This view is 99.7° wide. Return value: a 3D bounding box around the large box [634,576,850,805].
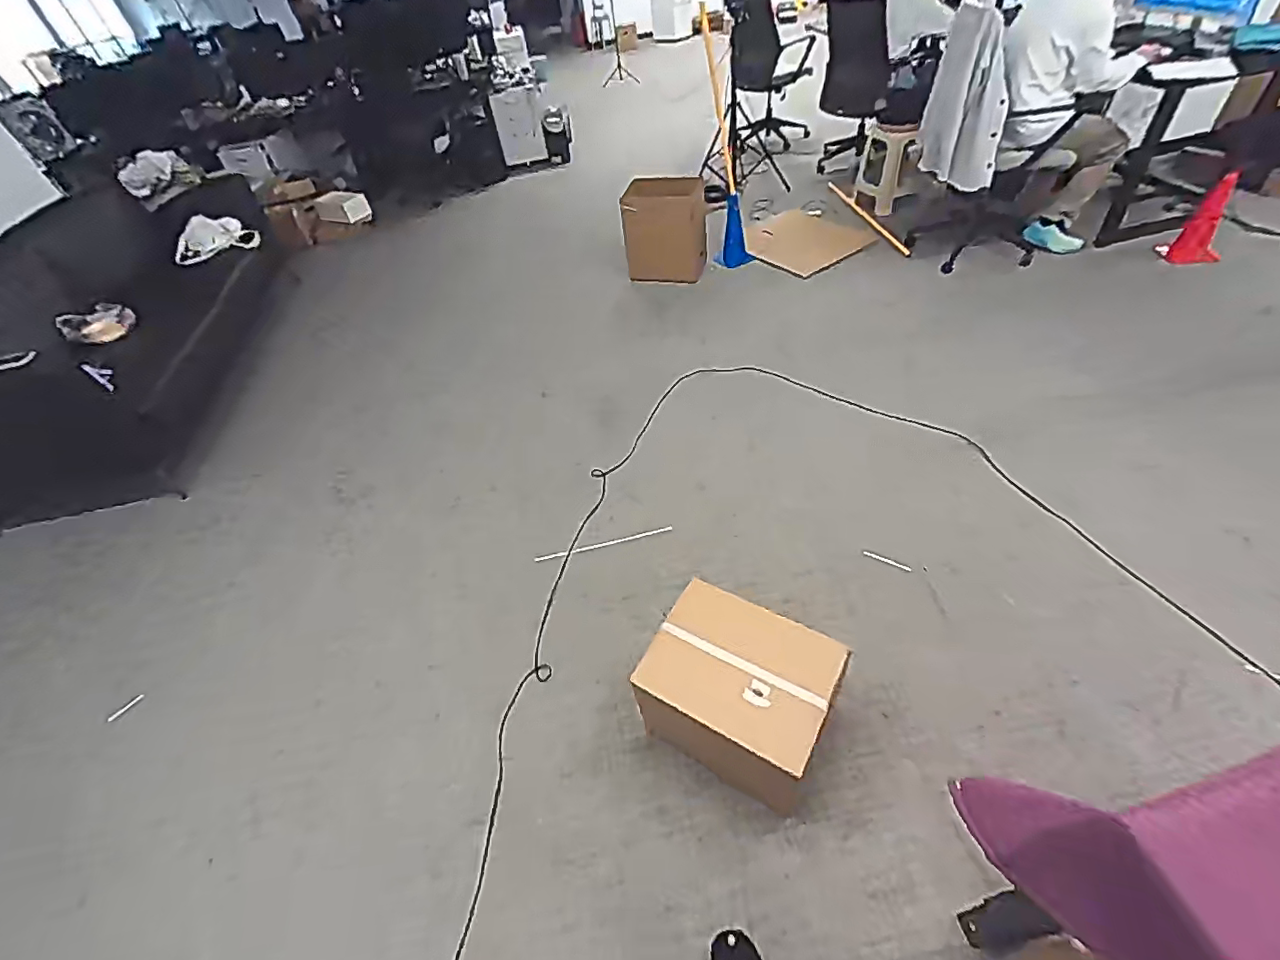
[{"bbox_3d":[0.243,0.506,1.324,0.408,0.320,0.320,21,55,26],"label":"large box"}]
